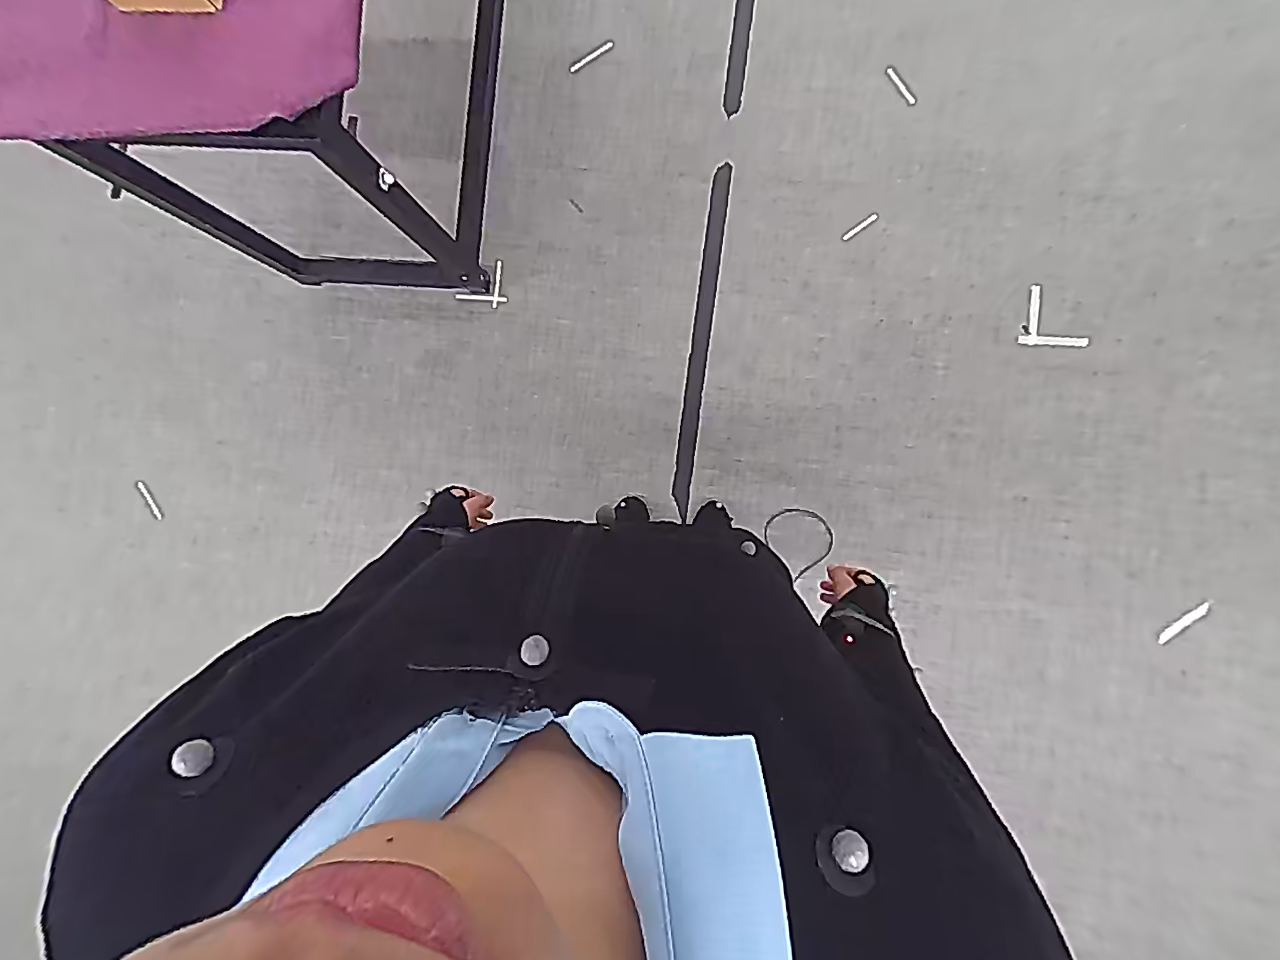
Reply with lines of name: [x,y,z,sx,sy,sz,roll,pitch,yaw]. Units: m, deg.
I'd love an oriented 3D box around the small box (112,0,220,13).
small box: [-0.746,-0.823,0.778,0.179,0.176,0.168,4,89,4]
